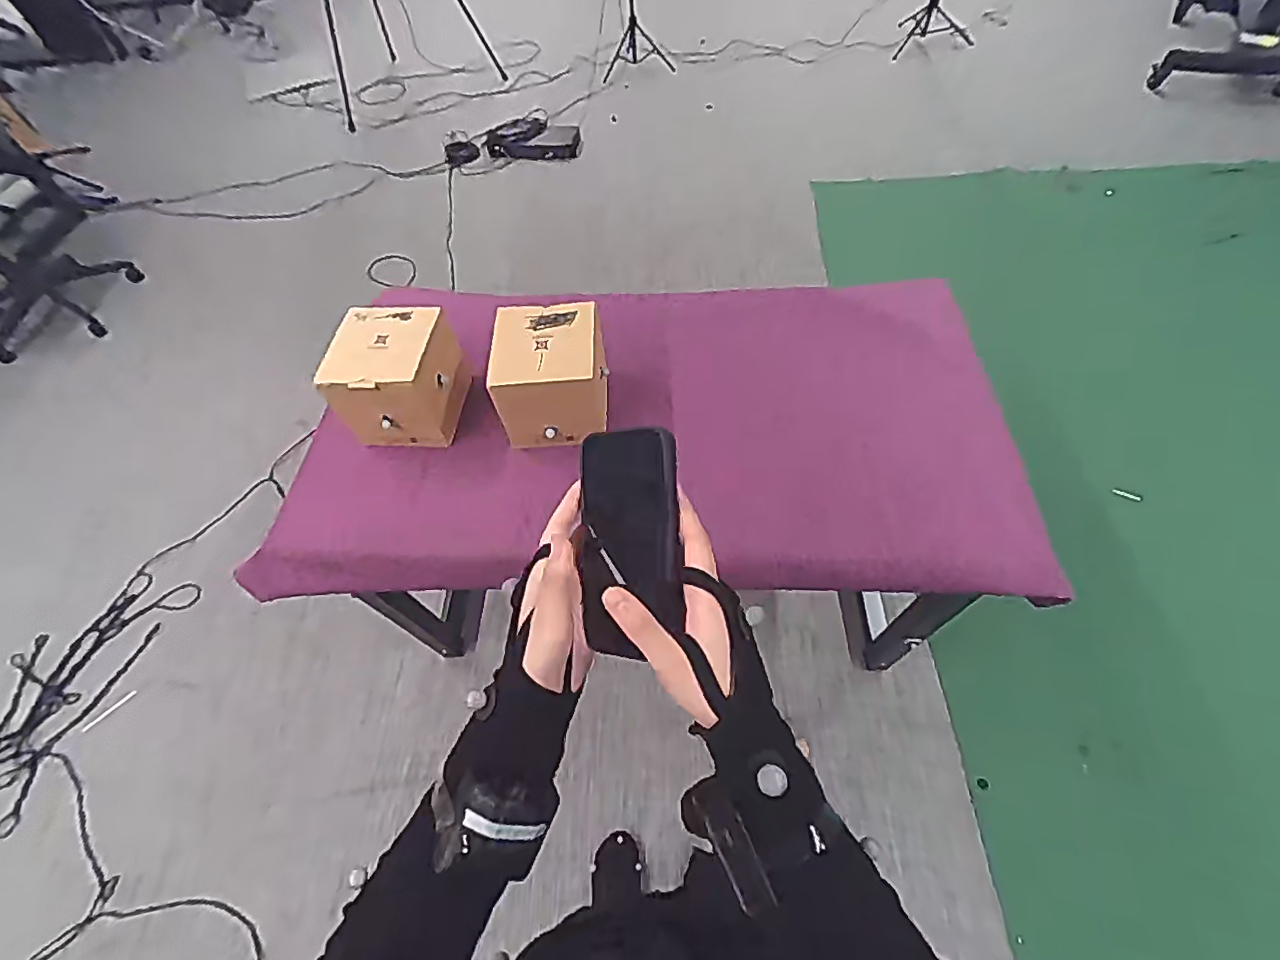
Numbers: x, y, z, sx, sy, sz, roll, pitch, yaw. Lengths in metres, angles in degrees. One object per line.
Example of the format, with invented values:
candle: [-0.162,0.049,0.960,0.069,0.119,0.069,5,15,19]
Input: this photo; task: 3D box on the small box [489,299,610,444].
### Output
small box: [-0.144,-0.181,0.923,0.168,0.176,0.179,-4,58,3]

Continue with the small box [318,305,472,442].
small box: [-0.412,-0.181,0.946,0.168,0.176,0.179,1,59,6]
